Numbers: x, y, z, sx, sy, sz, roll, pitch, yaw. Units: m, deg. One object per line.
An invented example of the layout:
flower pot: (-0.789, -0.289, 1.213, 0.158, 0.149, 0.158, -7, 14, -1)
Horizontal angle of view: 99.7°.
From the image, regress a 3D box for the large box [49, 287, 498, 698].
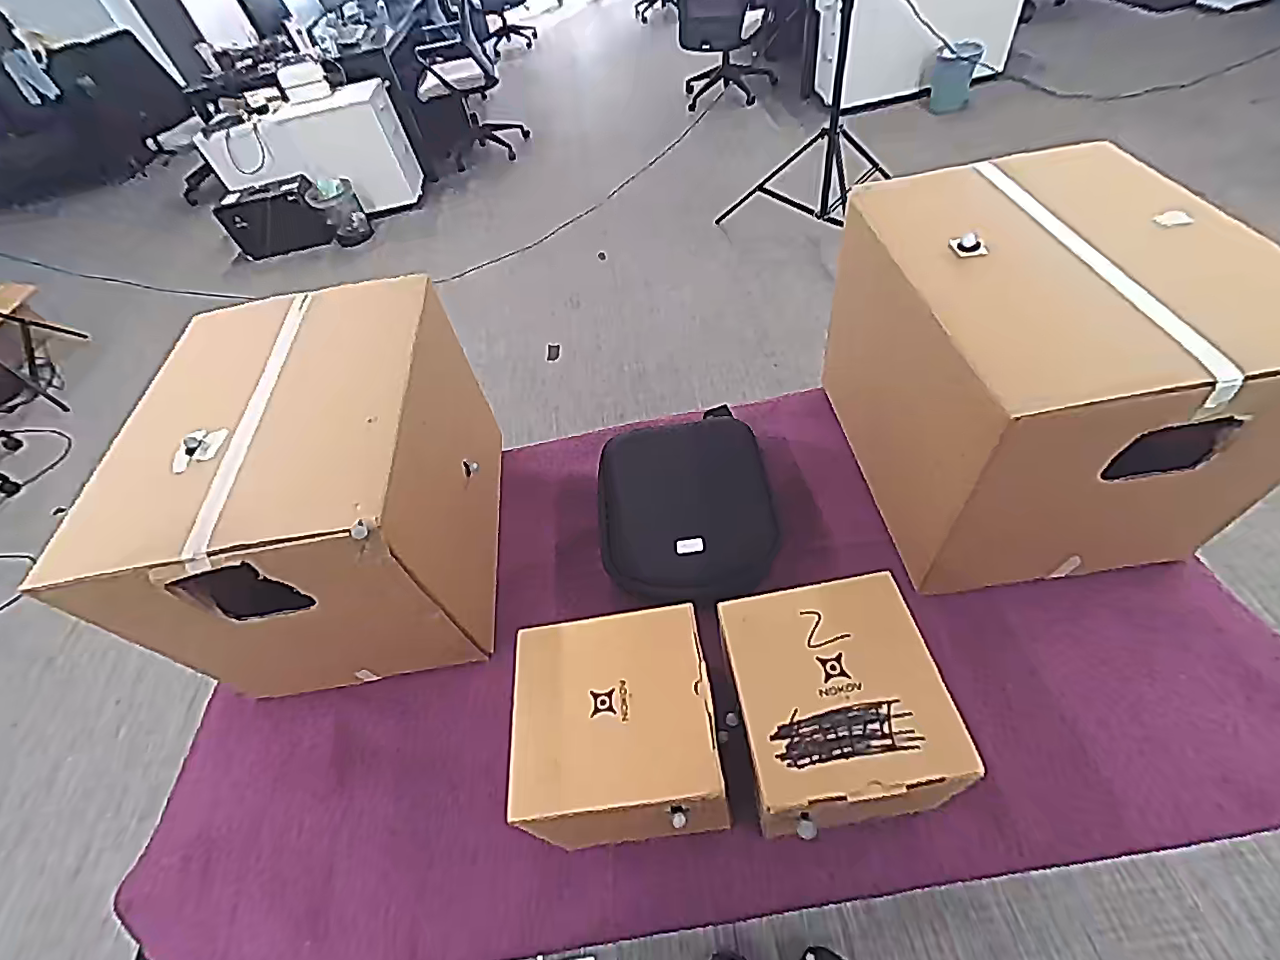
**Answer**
large box: (-0.380, 0.015, 0.704, 0.320, 0.320, 0.408, -11, 53, 0)
